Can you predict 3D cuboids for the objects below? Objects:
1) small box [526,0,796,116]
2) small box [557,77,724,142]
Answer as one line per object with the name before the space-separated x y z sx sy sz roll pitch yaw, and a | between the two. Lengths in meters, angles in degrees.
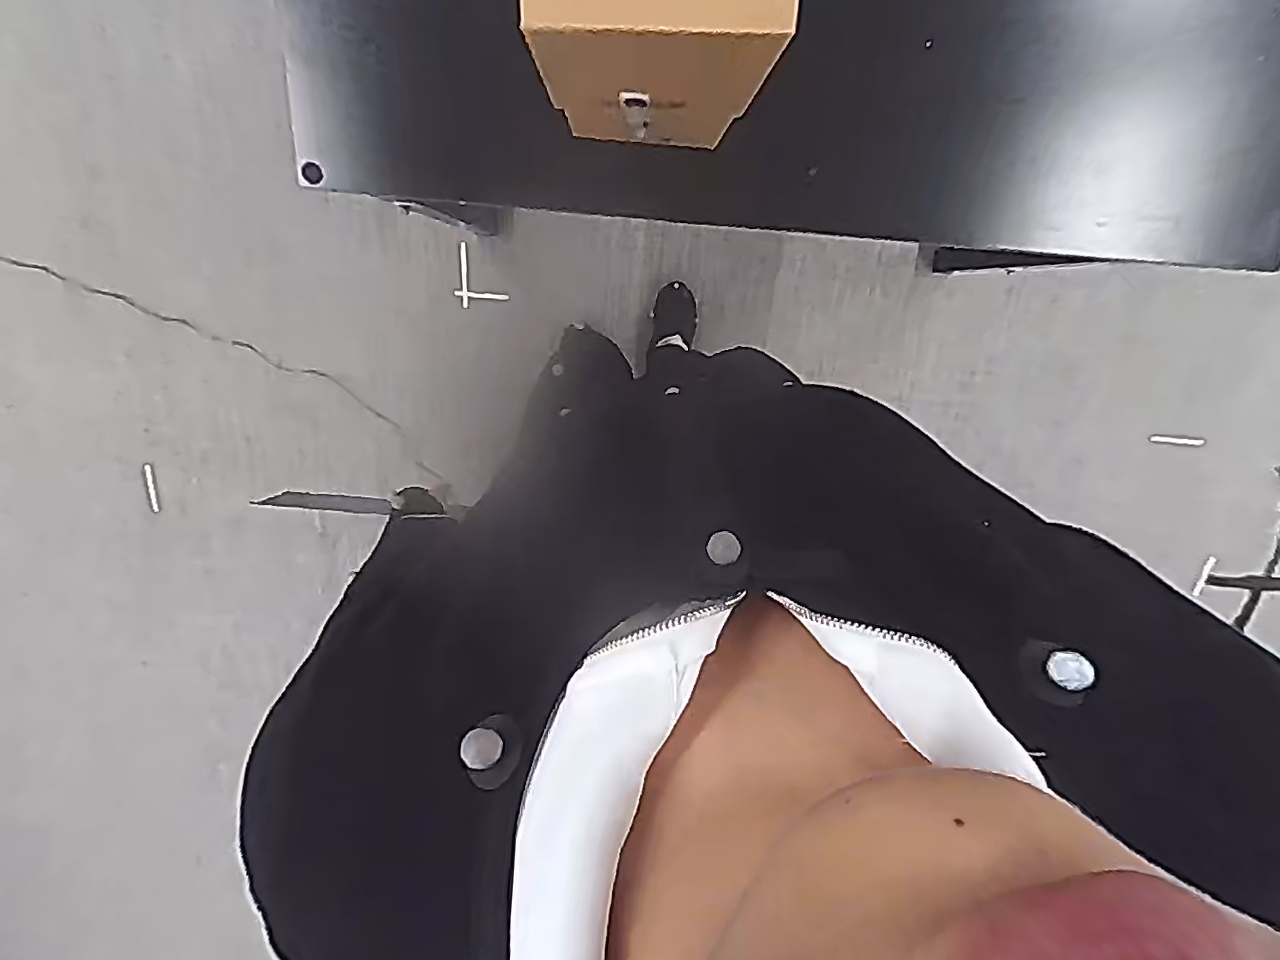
small box | 0.013 -0.382 0.377 0.168 0.176 0.179 0 110 0
small box | 0.013 -0.450 0.526 0.168 0.176 0.179 3 109 -3
